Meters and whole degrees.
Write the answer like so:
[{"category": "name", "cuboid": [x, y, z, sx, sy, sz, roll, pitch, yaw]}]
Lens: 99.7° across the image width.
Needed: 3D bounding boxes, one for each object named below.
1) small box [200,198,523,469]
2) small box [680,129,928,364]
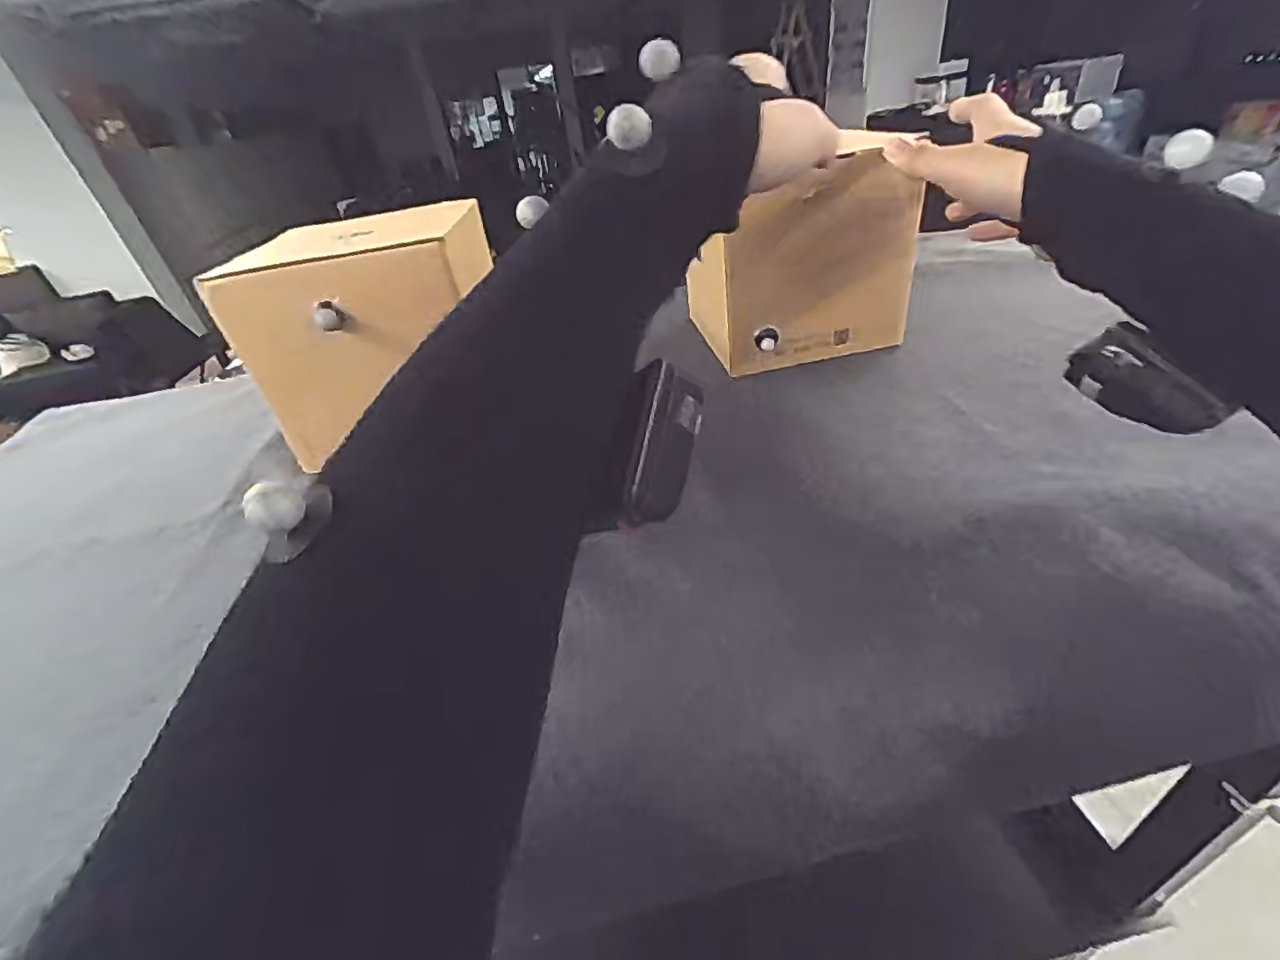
[{"category": "small box", "cuboid": [-0.211, -0.130, 0.477, 0.179, 0.176, 0.168, -10, 36, 0]}, {"category": "small box", "cuboid": [0.141, -0.221, 0.520, 0.168, 0.176, 0.179, -11, 35, -2]}]
